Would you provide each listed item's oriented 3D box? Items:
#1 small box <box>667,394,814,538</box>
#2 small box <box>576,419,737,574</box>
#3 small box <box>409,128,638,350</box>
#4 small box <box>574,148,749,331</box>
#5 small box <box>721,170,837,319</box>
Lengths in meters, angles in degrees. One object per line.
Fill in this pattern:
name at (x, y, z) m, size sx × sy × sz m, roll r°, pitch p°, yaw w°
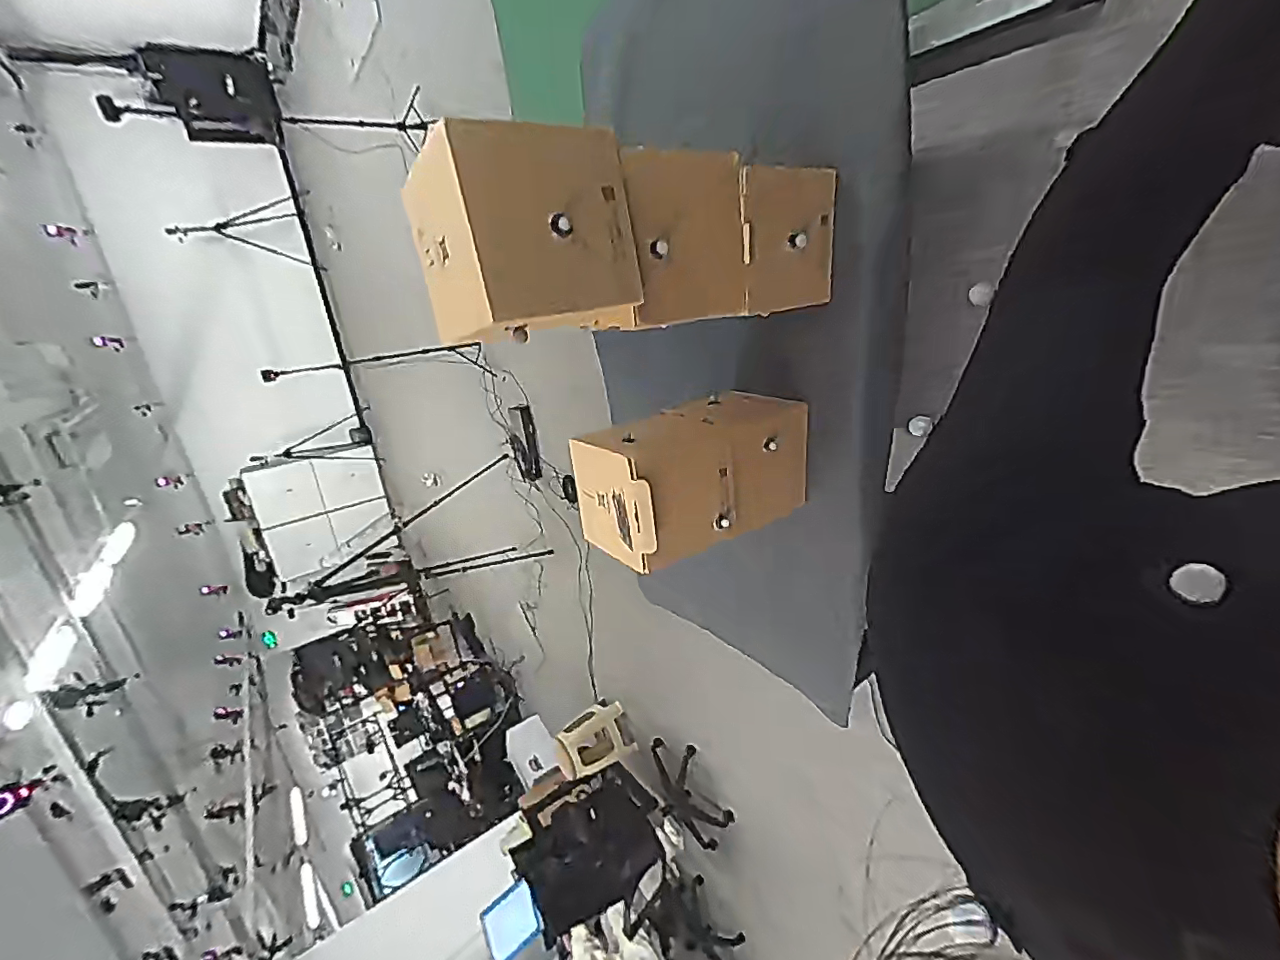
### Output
small box at (0.165, -0.035, 0.878) m, size 0.168 × 0.176 × 0.179 m, roll 23°, pitch 127°, yaw 52°
small box at (0.030, 0.011, 0.796) m, size 0.179 × 0.176 × 0.168 m, roll 19°, pitch 122°, yaw 55°
small box at (-0.115, -0.240, 0.563) m, size 0.179 × 0.176 × 0.168 m, roll 9°, pitch 114°, yaw 56°
small box at (0.015, -0.282, 0.656) m, size 0.168 × 0.176 × 0.179 m, roll 21°, pitch 125°, yaw 52°
small box at (0.149, -0.320, 0.743) m, size 0.179 × 0.176 × 0.168 m, roll 23°, pitch 126°, yaw 51°
